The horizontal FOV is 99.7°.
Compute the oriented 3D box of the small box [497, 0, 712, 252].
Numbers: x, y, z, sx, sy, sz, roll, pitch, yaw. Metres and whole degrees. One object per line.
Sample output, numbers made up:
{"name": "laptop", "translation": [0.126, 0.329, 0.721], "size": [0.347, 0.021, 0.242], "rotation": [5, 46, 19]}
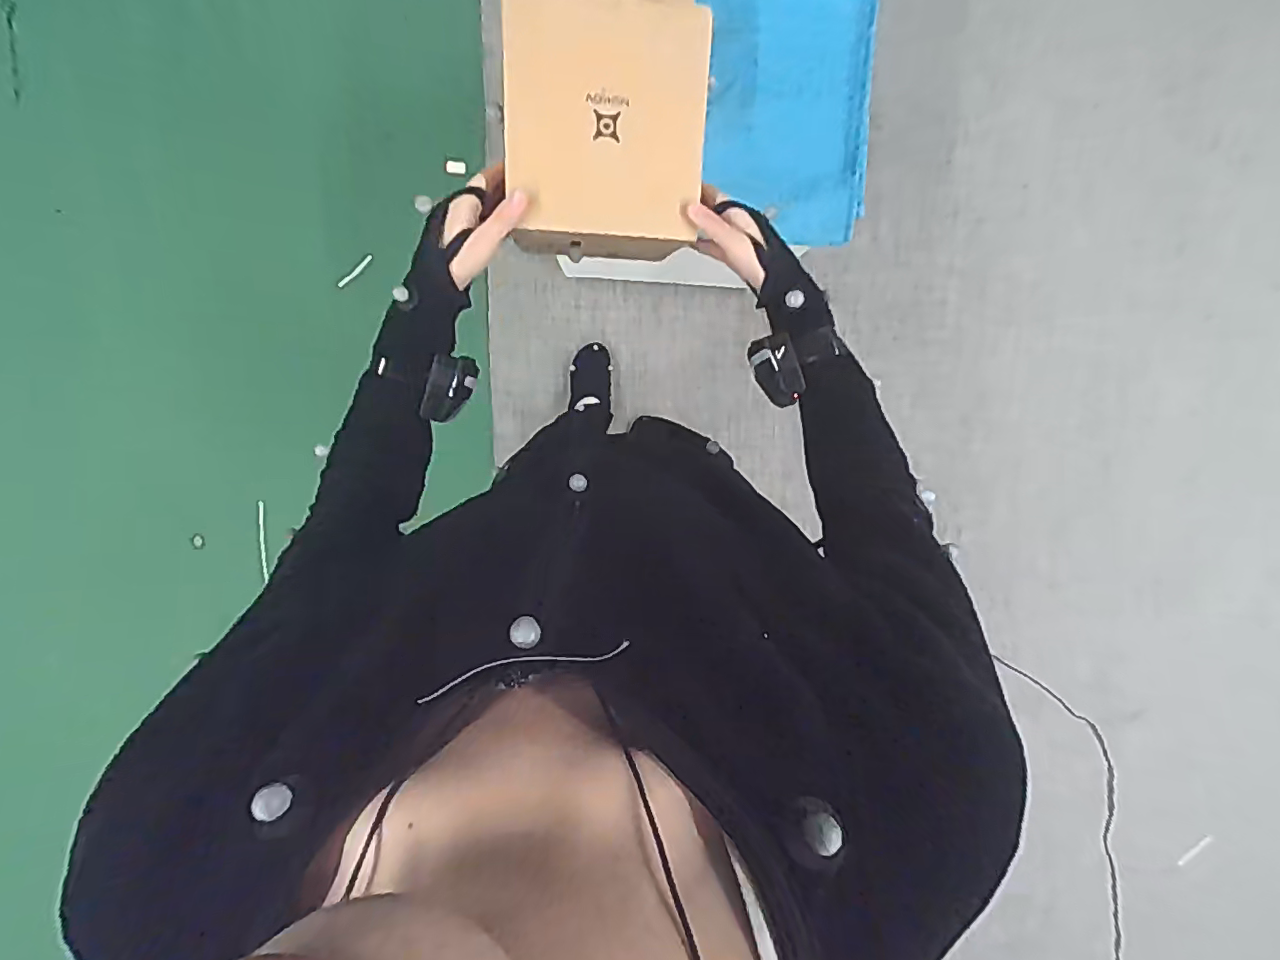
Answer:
{"name": "small box", "translation": [-0.040, -0.319, 0.505], "size": [0.168, 0.176, 0.179], "rotation": [1, 105, -9]}
